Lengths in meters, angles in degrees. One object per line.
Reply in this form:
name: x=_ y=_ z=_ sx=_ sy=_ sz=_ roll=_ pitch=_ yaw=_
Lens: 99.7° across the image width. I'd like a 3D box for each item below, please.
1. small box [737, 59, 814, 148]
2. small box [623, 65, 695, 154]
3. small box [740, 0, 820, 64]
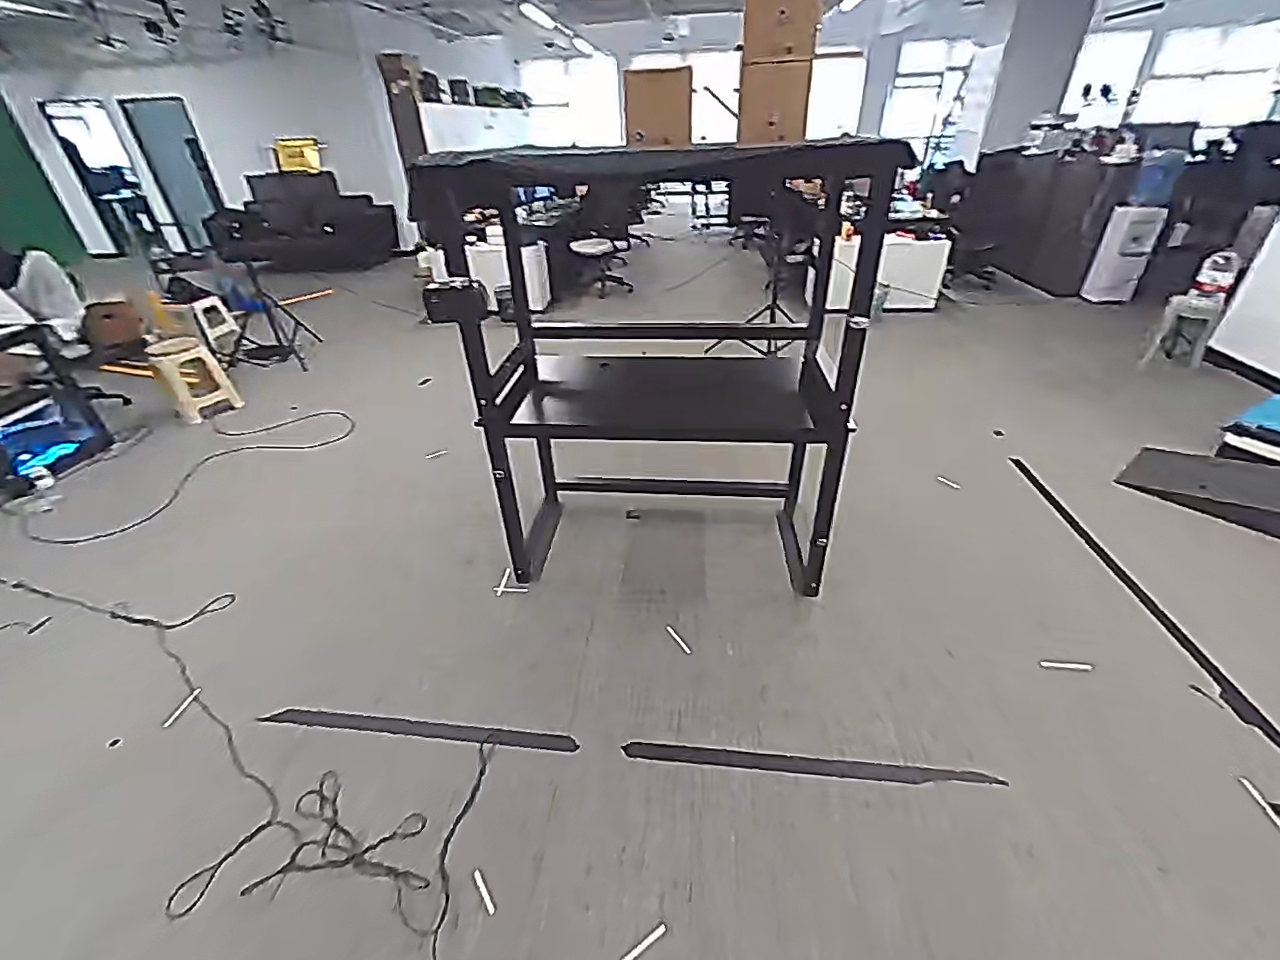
small box: x=0.327 y=-0.924 z=1.340 sx=0.168 sy=0.176 sz=0.179 roll=1 pitch=32 yaw=8
small box: x=0.054 y=-0.930 z=1.369 sx=0.168 sy=0.176 sz=0.179 roll=2 pitch=31 yaw=6
small box: x=0.322 y=-1.063 z=1.253 sx=0.168 sy=0.176 sz=0.179 roll=2 pitch=33 yaw=8
